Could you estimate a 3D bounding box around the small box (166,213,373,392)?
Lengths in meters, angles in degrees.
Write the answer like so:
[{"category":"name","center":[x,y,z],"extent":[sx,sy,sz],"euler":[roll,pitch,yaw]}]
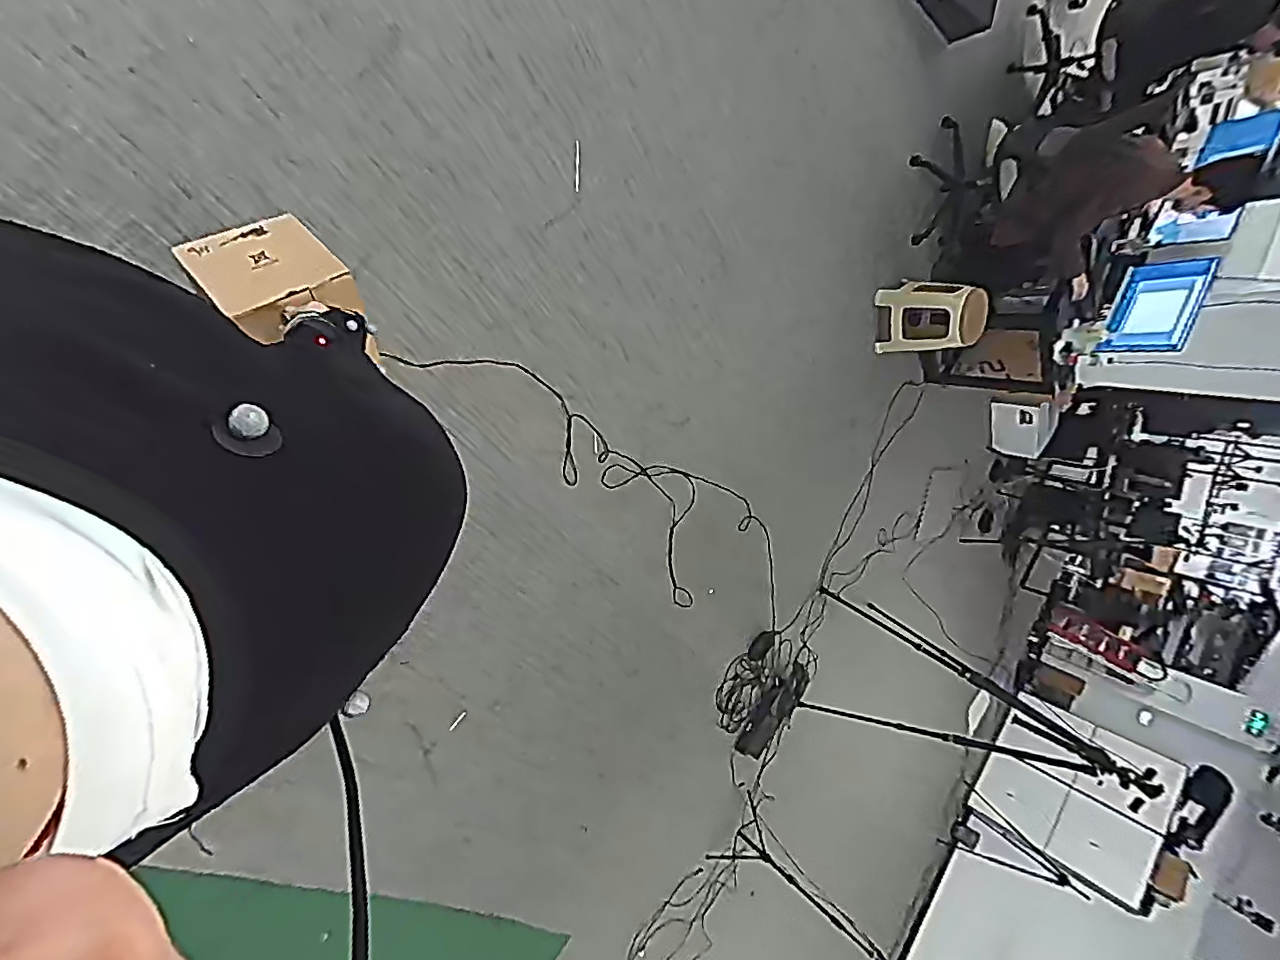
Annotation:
[{"category":"small box","center":[-0.536,-0.256,0.809],"extent":[0.168,0.179,0.176],"euler":[-40,160,-29]}]
